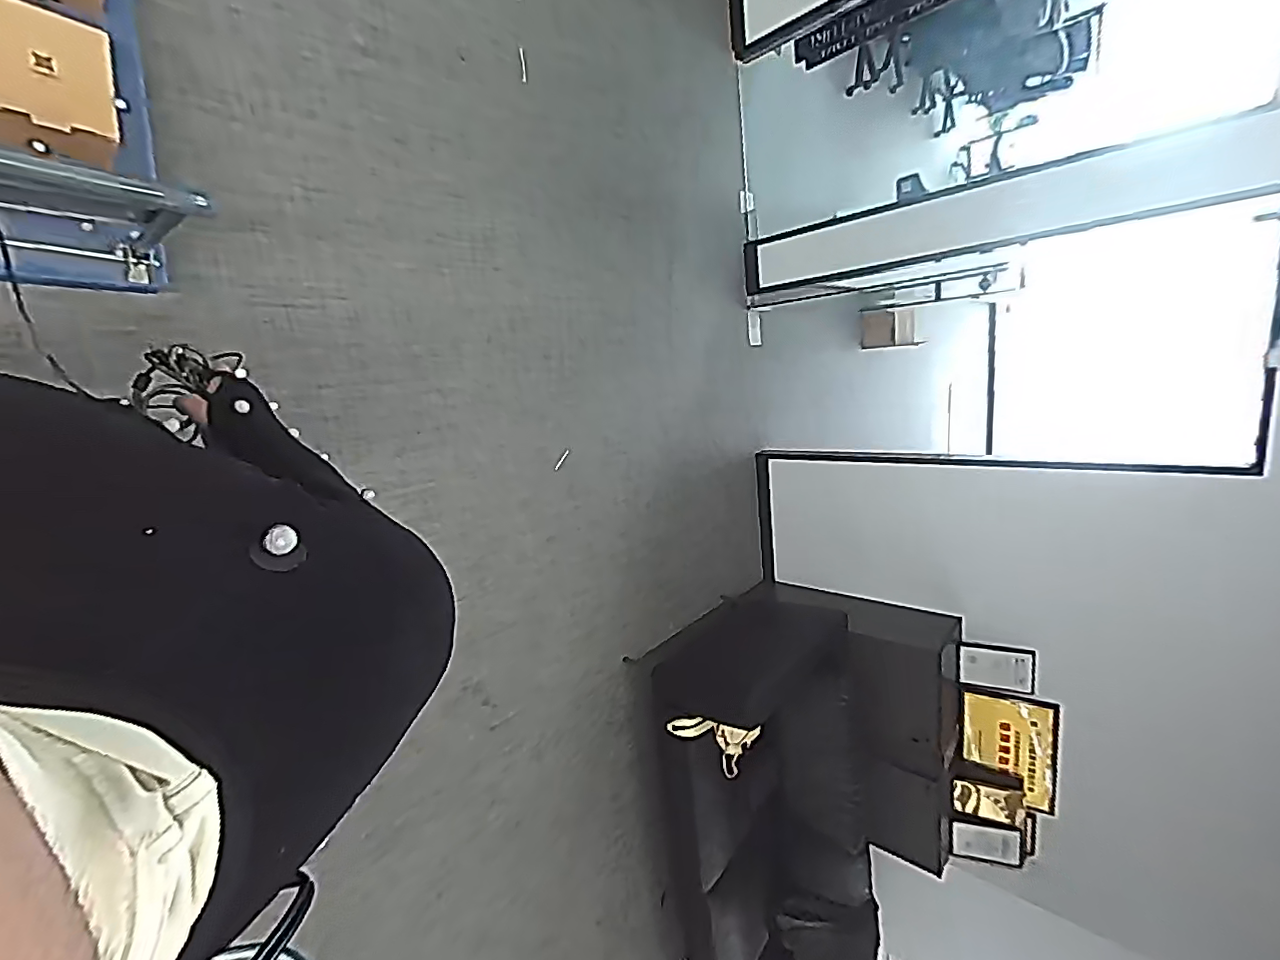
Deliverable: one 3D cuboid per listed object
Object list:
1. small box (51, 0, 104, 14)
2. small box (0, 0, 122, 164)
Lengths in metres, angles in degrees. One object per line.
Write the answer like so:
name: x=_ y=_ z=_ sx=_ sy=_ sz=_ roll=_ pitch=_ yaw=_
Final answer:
small box: x=-1.014 y=-0.940 z=0.894 sx=0.168 sy=0.176 sz=0.179 roll=-12 pitch=104 yaw=-46
small box: x=-1.017 y=-0.679 z=0.925 sx=0.168 sy=0.176 sz=0.179 roll=-8 pitch=101 yaw=-47
